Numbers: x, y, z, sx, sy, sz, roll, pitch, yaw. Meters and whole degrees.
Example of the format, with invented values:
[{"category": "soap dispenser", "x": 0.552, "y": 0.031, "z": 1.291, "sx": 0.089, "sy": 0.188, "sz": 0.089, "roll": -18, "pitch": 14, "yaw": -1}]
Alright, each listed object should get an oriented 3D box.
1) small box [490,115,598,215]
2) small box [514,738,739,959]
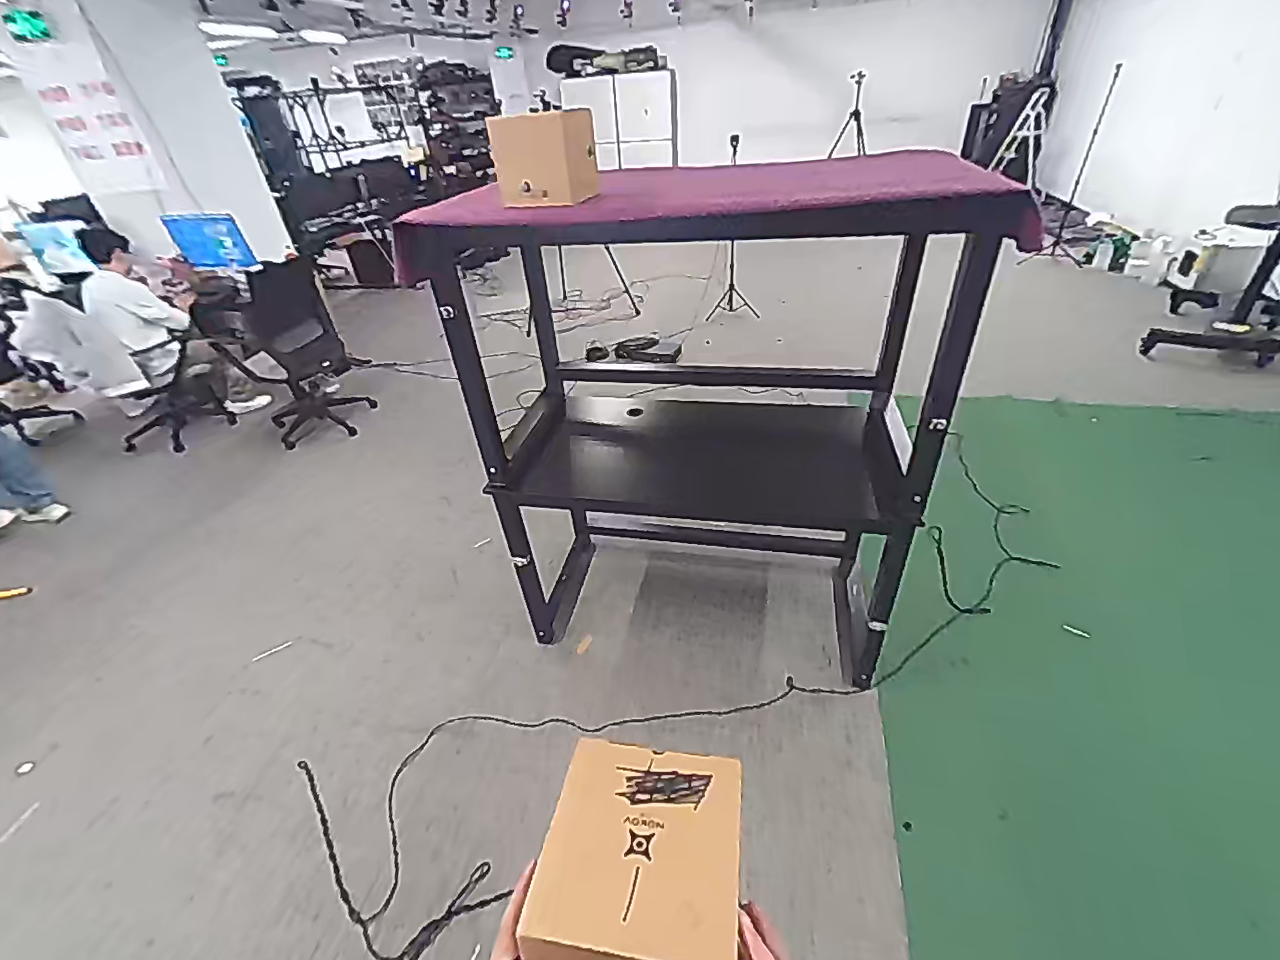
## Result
[{"category": "small box", "x": -0.196, "y": -0.681, "z": 1.170, "sx": 0.168, "sy": 0.176, "sz": 0.179, "roll": 6, "pitch": 36, "yaw": 16}, {"category": "small box", "x": 0.000, "y": 0.380, "z": 0.499, "sx": 0.168, "sy": 0.176, "sz": 0.179, "roll": 3, "pitch": 26, "yaw": 11}]
